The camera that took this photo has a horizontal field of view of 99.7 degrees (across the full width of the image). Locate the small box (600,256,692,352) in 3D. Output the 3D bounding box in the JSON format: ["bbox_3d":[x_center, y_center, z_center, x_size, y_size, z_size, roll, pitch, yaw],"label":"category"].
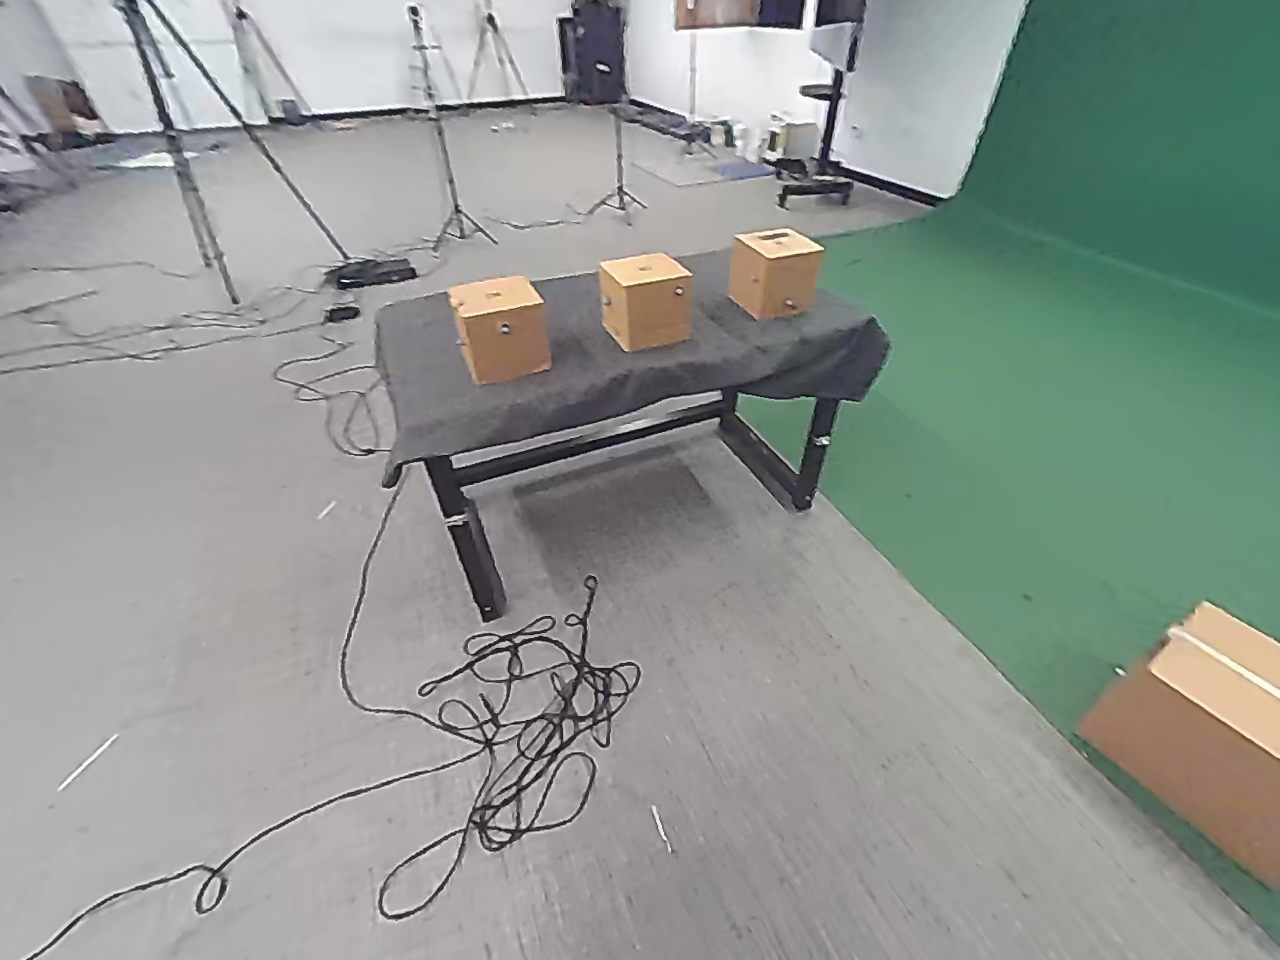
[{"bbox_3d":[0.013,-0.431,1.333,0.179,0.176,0.168,-16,43,-18],"label":"small box"}]

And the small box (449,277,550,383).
[{"bbox_3d":[-0.315,-0.338,1.225,0.179,0.176,0.168,-16,45,-19],"label":"small box"}]
